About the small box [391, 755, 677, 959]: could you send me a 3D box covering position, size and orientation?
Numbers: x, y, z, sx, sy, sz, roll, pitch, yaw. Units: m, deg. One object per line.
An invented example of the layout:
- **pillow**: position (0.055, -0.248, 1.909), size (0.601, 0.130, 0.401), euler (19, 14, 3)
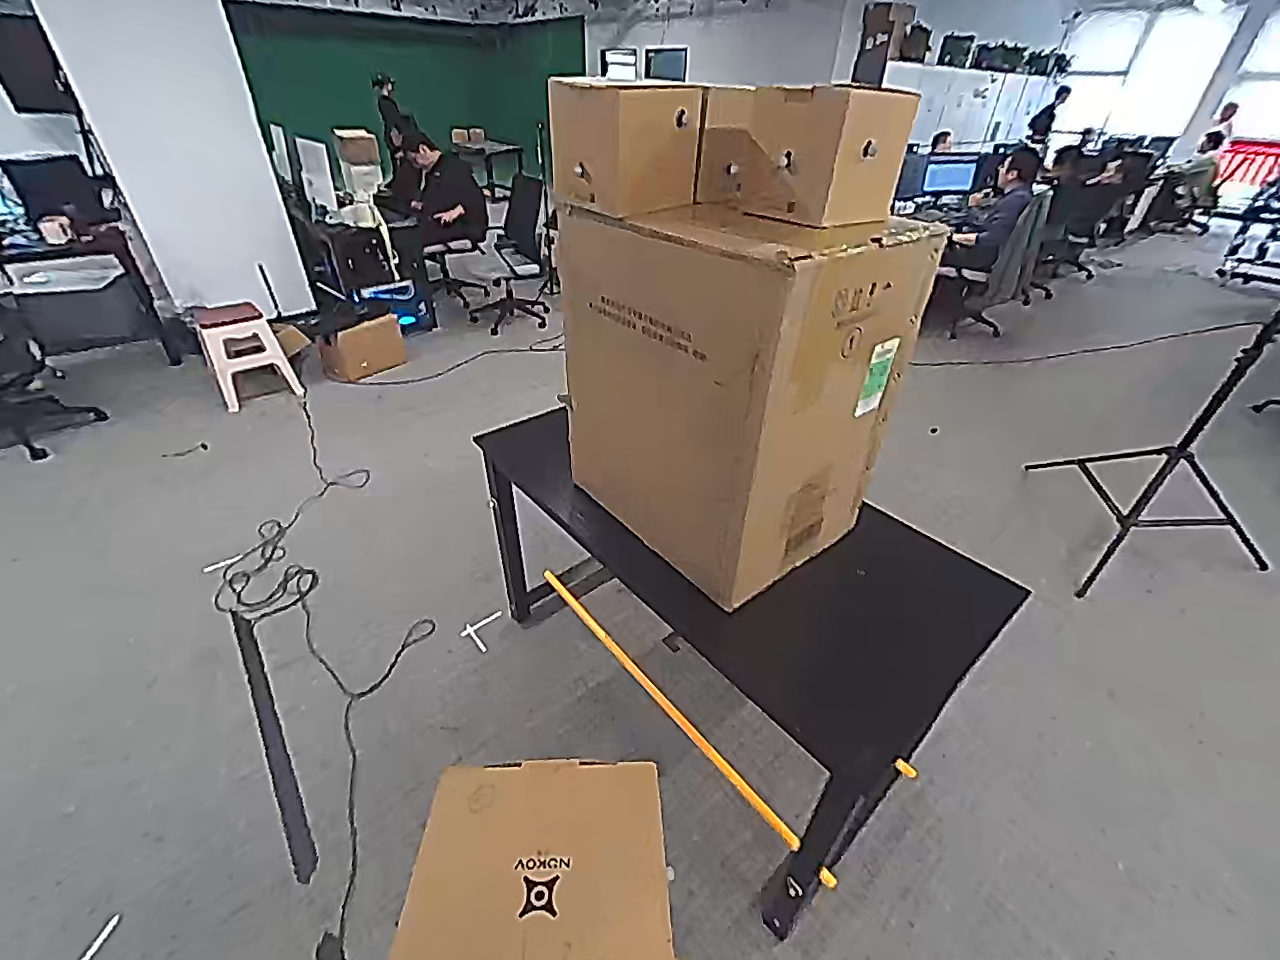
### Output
- **small box**: position (-0.066, 0.327, 0.382), size (0.168, 0.176, 0.179), euler (1, 28, -4)
